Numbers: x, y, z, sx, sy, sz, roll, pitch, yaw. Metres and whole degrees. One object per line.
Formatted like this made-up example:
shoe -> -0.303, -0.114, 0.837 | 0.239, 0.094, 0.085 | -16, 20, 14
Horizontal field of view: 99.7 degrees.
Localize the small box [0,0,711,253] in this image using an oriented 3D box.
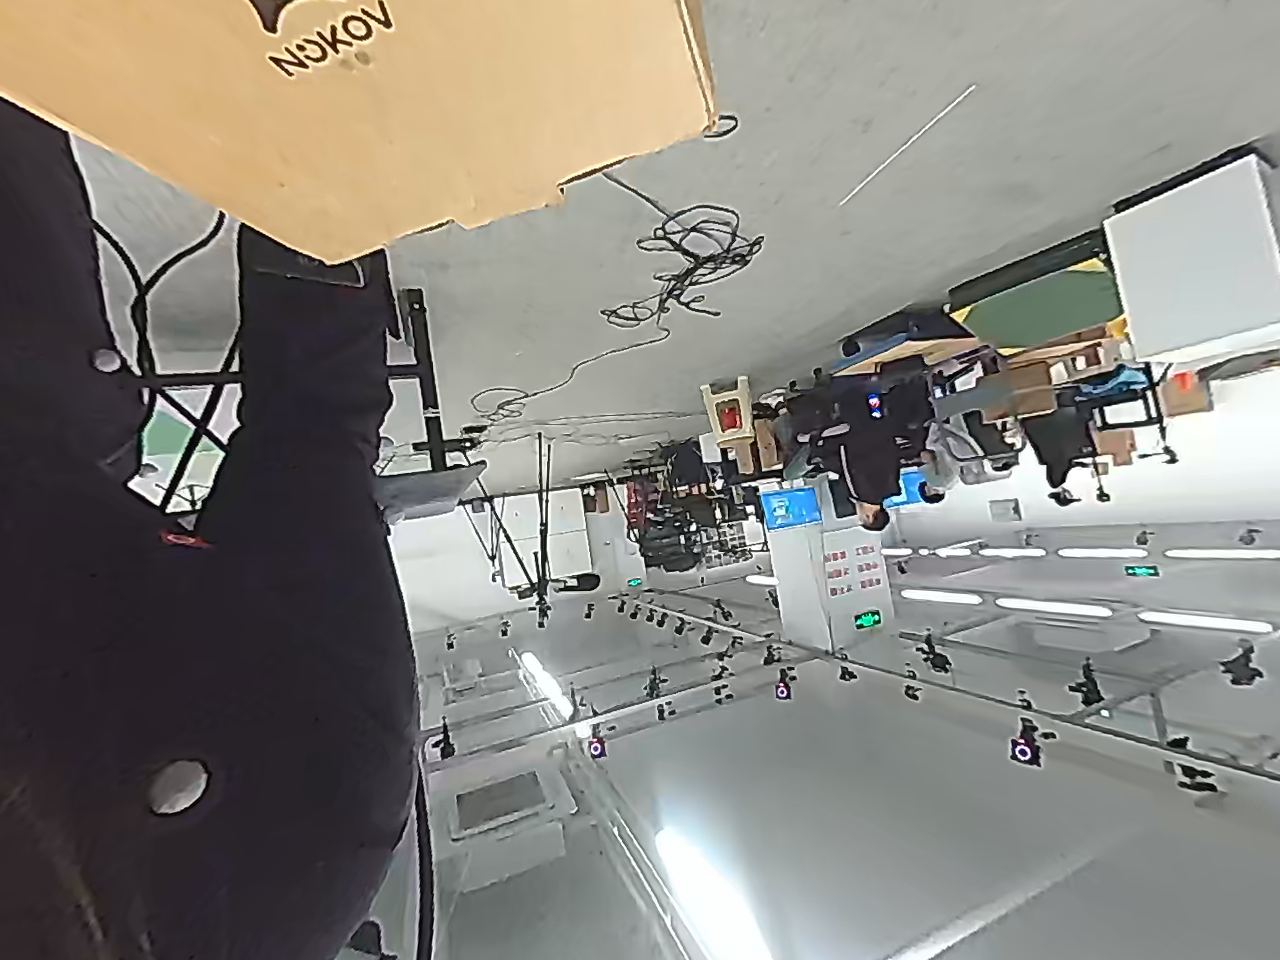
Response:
small box -> -0.090, -0.194, 0.131 | 0.168, 0.176, 0.179 | -10, 173, 18
